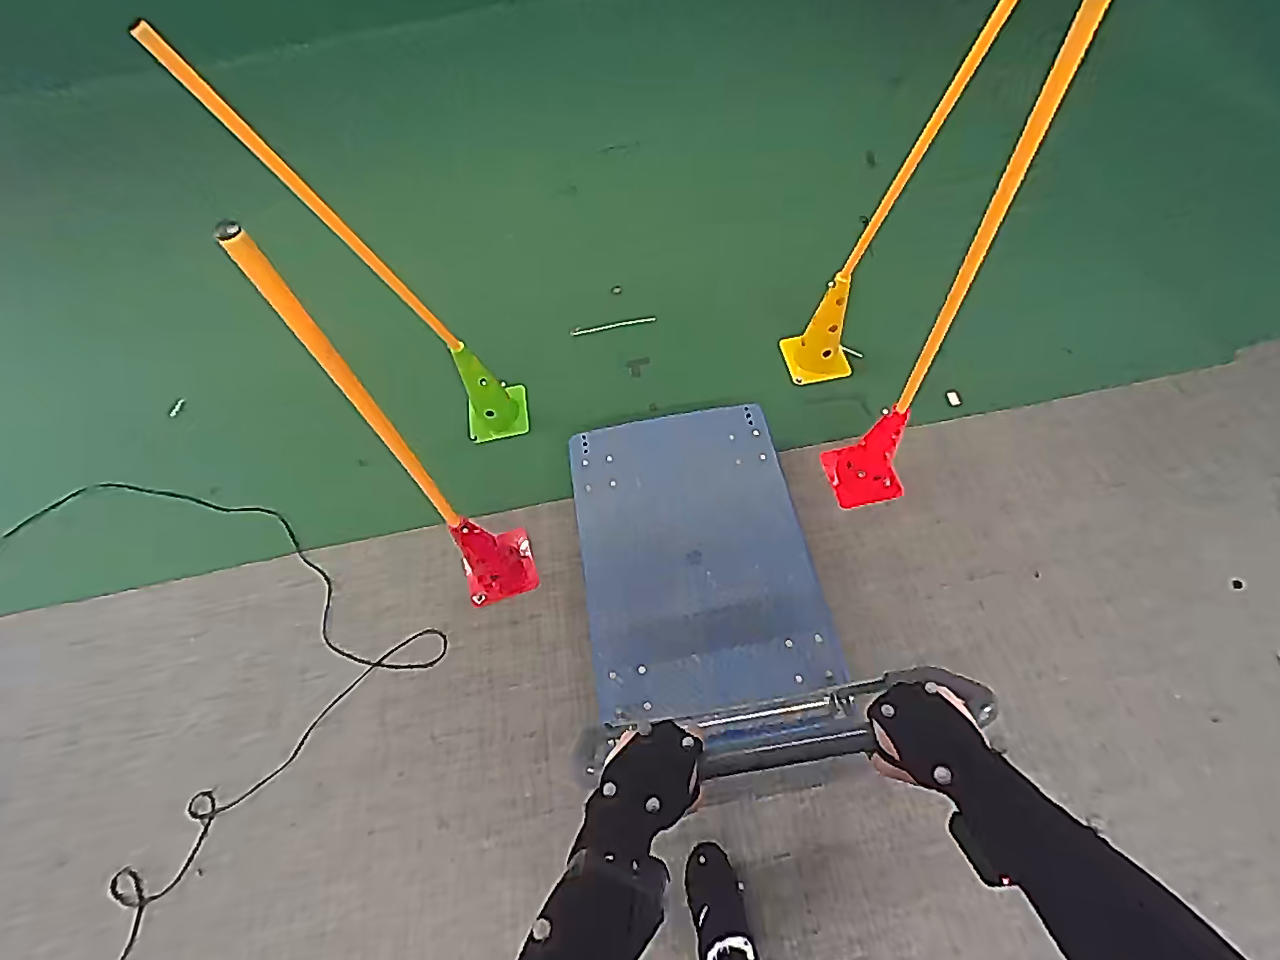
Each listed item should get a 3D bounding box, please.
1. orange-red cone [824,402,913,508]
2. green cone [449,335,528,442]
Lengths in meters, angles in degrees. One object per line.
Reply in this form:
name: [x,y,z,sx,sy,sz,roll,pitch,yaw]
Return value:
orange-red cone: [0.657,-0.095,1.471,0.198,0.360,0.199,-11,61,-2]
green cone: [-0.497,-0.305,1.673,0.200,0.368,0.202,-12,62,0]
